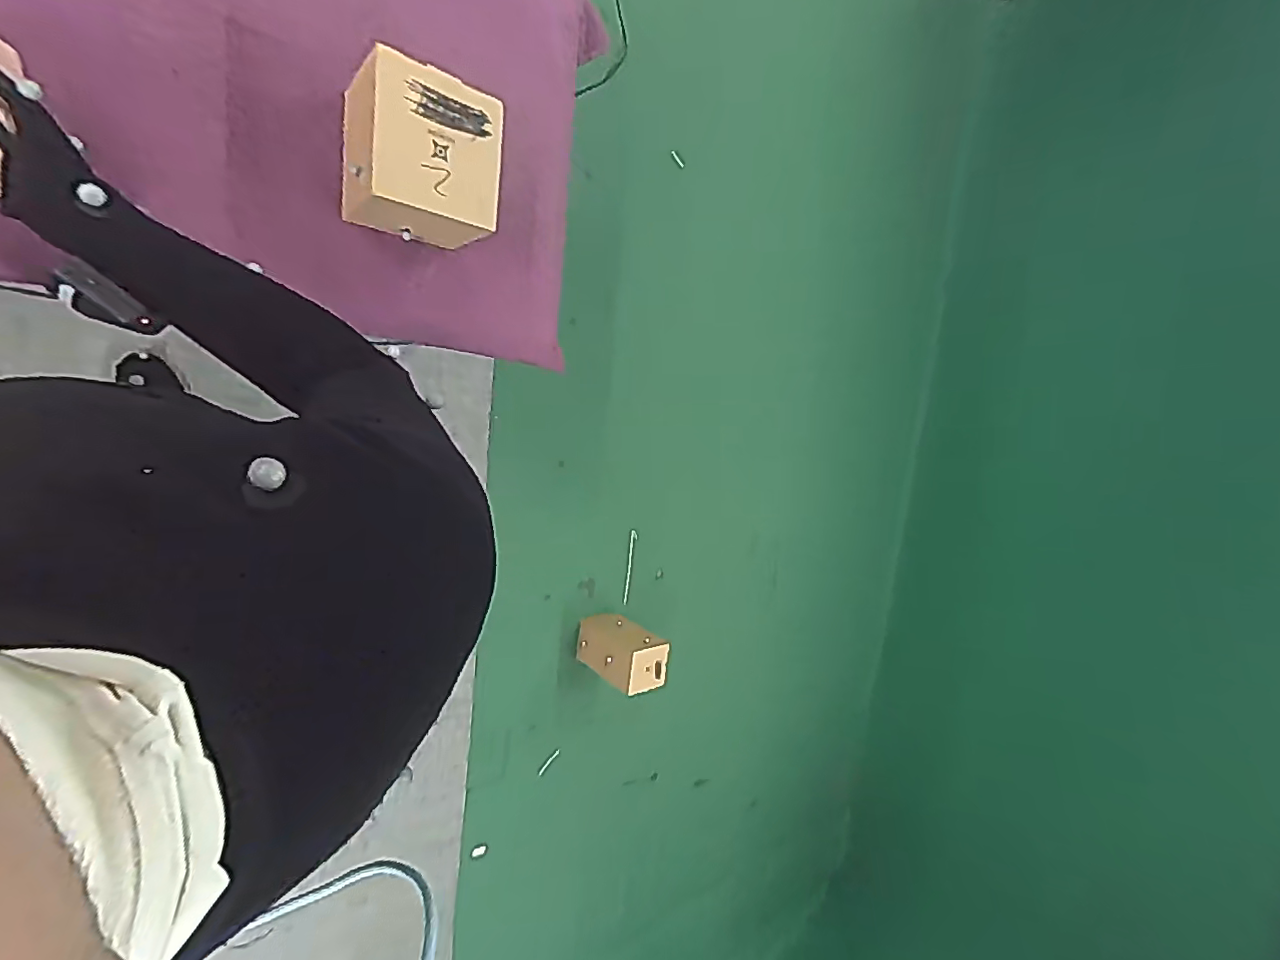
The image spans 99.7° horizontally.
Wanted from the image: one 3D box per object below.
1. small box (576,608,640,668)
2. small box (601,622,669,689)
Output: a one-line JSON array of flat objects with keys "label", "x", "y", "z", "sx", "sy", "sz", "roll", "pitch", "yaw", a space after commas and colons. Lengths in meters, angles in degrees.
[{"label": "small box", "x": -0.126, "y": 0.615, "z": 2.129, "sx": 0.179, "sy": 0.176, "sz": 0.168, "roll": 1, "pitch": 98, "yaw": -41}, {"label": "small box", "x": -0.019, "y": 0.643, "z": 2.007, "sx": 0.179, "sy": 0.176, "sz": 0.168, "roll": 1, "pitch": 99, "yaw": -41}]
